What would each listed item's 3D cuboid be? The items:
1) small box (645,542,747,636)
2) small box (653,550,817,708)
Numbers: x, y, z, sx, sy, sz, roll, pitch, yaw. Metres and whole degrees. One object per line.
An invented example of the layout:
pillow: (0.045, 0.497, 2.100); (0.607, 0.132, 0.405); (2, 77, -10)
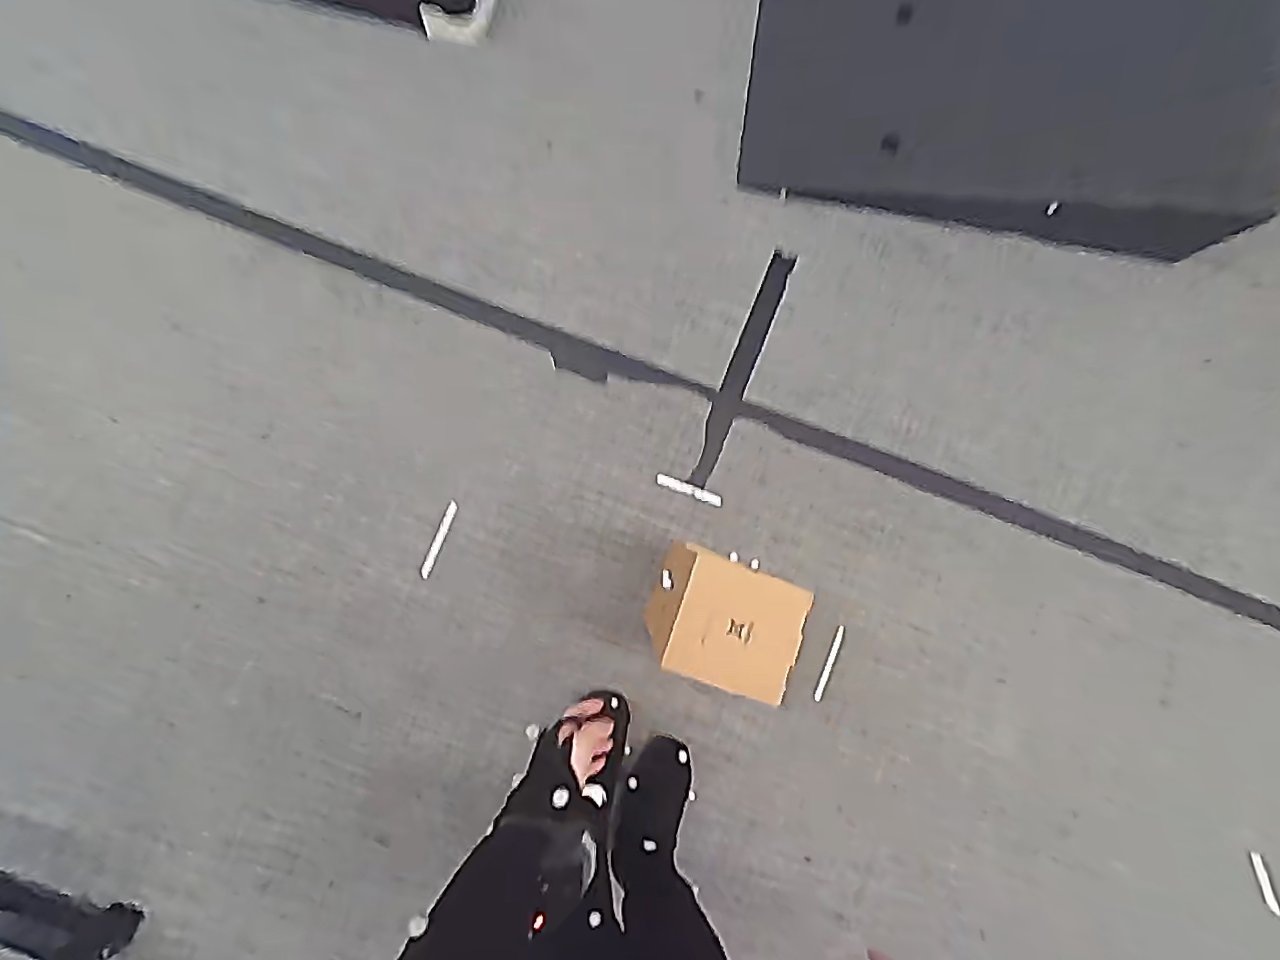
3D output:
small box: (0.122, 0.216, 0.972); (0.179, 0.176, 0.168); (22, 85, -3)
small box: (0.130, 0.208, 0.808); (0.179, 0.176, 0.168); (20, 85, -1)
